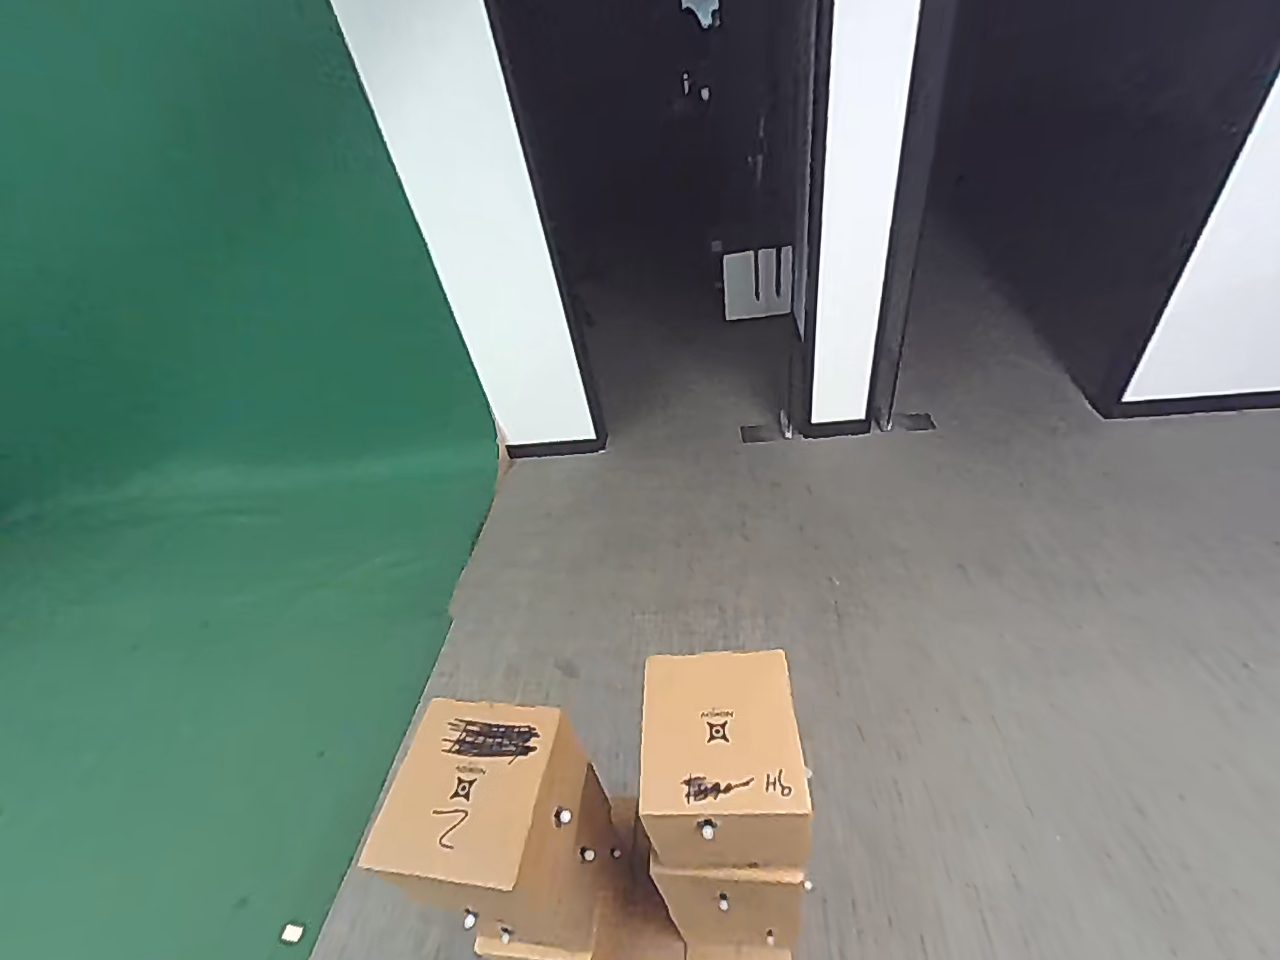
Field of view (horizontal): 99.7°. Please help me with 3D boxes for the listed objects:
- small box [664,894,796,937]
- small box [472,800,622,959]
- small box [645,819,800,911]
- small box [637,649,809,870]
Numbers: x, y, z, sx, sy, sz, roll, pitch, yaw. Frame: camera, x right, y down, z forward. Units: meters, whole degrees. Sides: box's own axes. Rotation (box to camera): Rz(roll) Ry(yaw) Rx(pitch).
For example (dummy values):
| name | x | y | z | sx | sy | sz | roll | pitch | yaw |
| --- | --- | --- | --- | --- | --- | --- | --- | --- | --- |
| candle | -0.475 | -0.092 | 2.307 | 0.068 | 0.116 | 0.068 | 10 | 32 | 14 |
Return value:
| name | x | y | z | sx | sy | sz | roll | pitch | yaw |
| --- | --- | --- | --- | --- | --- | --- | --- | --- | --- |
| small box | 0.138 | 0.575 | 0.827 | 0.179 | 0.176 | 0.168 | -5 | 40 | 10 |
| small box | -0.128 | 0.623 | 0.831 | 0.168 | 0.176 | 0.179 | -1 | 41 | 10 |
| small box | 0.113 | 0.452 | 0.722 | 0.179 | 0.176 | 0.168 | -4 | 40 | 12 |
| small box | 0.096 | 0.319 | 0.626 | 0.168 | 0.176 | 0.179 | -5 | 39 | 9 |
